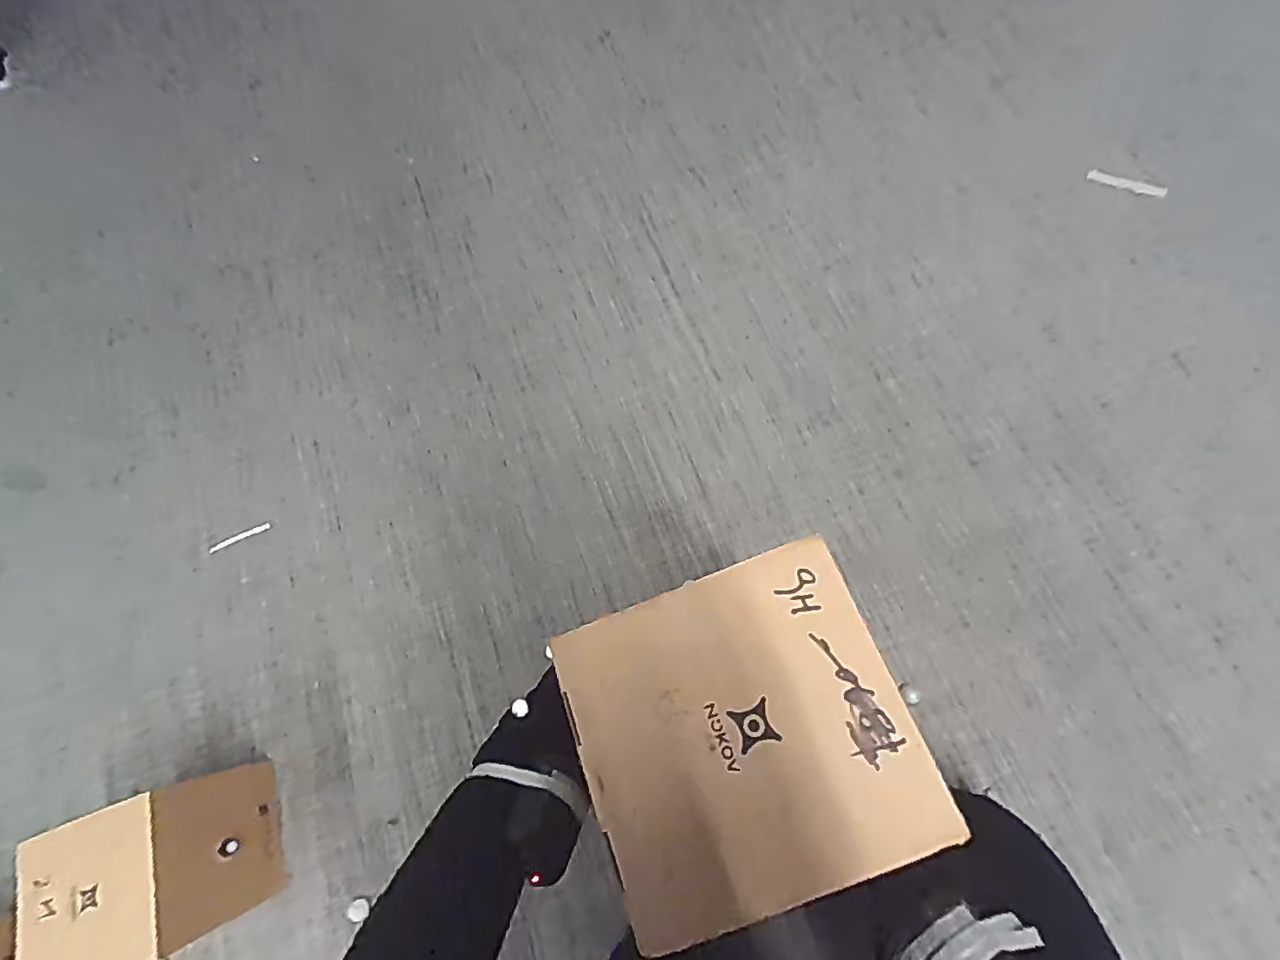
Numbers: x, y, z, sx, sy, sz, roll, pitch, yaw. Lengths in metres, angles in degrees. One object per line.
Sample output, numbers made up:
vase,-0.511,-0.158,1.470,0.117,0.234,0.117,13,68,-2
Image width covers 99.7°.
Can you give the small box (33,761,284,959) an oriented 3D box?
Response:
small box,-0.574,0.470,0.666,0.179,0.176,0.168,-22,70,4
